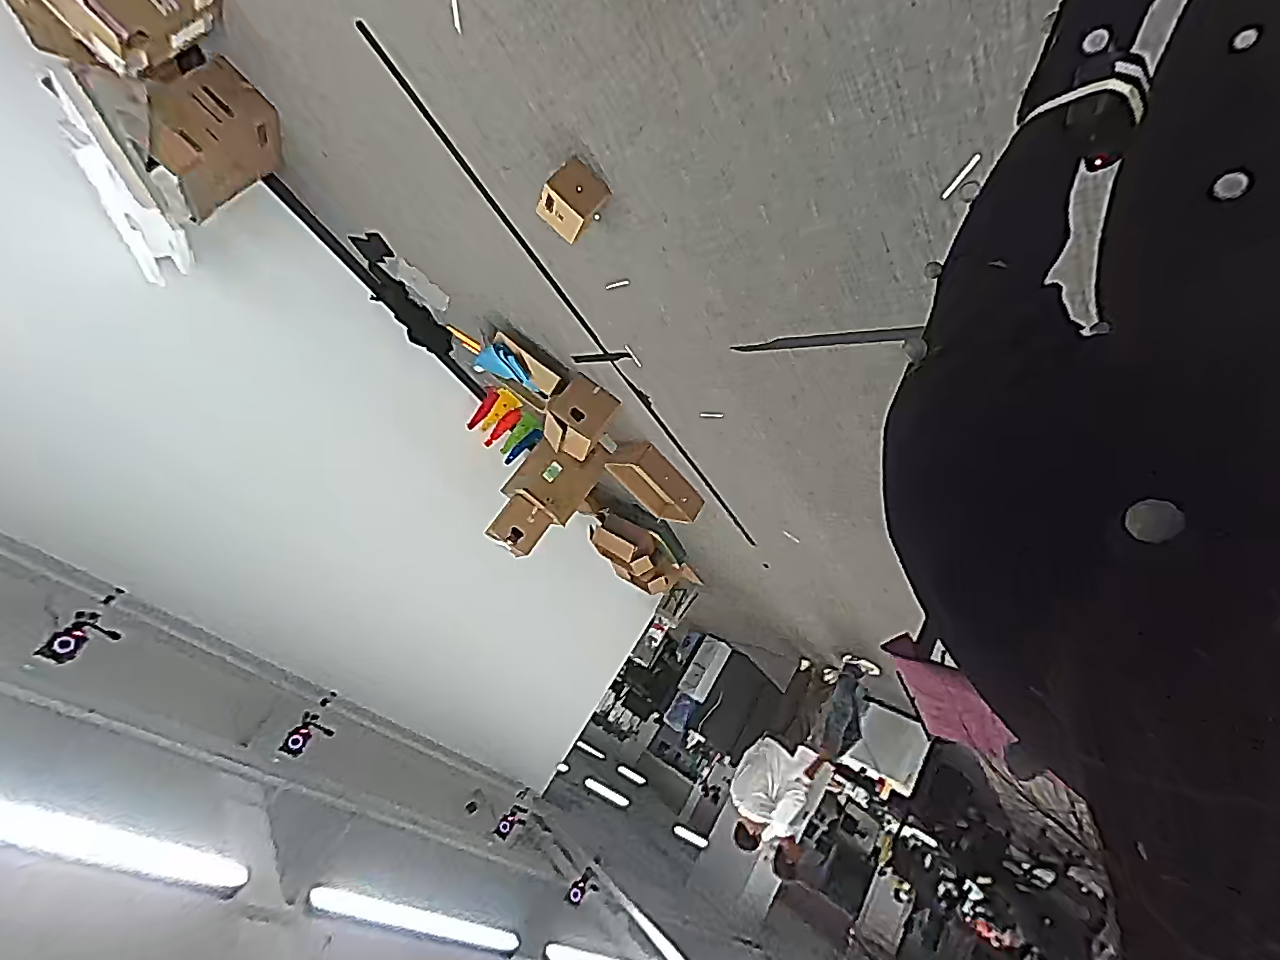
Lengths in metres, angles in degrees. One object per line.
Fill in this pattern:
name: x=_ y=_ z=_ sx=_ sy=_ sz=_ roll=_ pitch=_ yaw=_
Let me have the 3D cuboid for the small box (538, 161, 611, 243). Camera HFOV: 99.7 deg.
small box: x=-0.235 y=-1.004 z=1.943 sx=0.179 sy=0.176 sz=0.168 roll=39 pitch=160 yaw=-13
